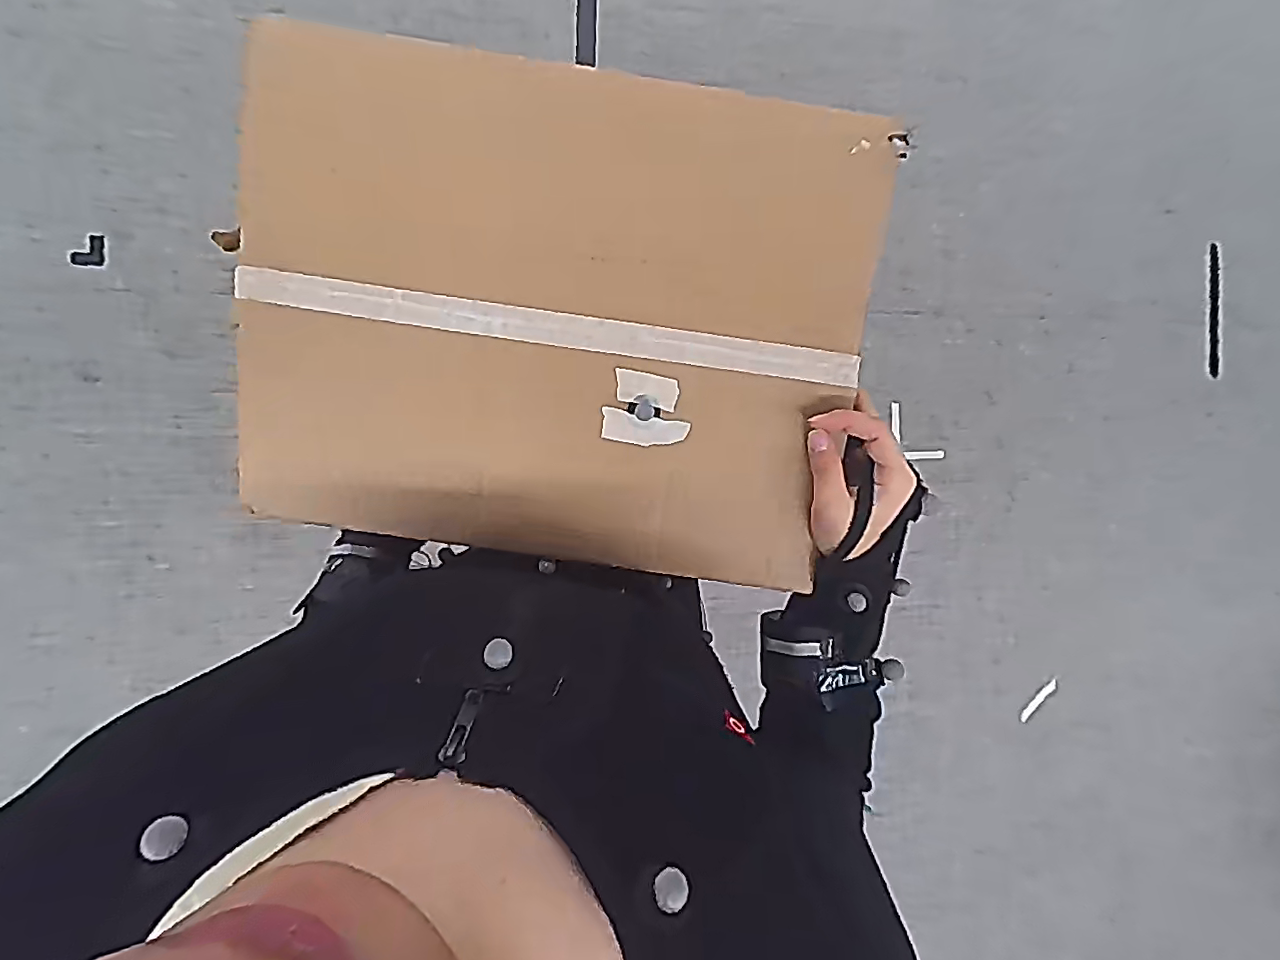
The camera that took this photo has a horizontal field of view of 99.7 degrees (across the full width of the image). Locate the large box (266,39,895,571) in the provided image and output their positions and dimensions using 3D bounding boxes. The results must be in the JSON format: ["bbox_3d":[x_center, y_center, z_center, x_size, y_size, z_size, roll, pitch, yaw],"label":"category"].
[{"bbox_3d":[-0.052,-0.127,0.512,0.408,0.320,0.320,7,100,-2],"label":"large box"}]
